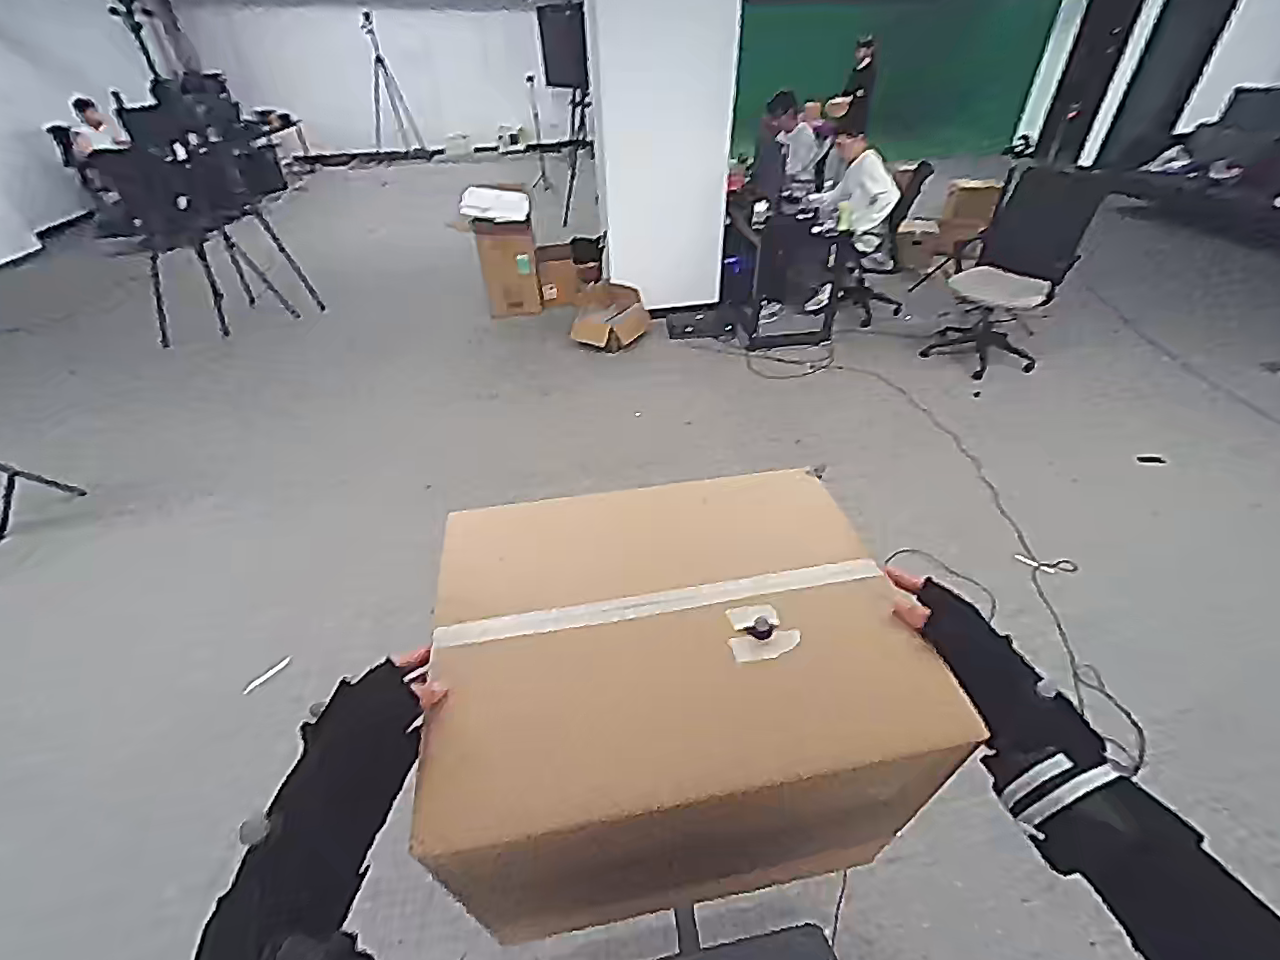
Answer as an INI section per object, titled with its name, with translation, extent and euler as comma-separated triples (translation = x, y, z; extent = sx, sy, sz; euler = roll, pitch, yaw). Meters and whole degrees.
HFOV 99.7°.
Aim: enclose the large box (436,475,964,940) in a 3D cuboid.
[large box]
translation = 0.027, 0.230, 0.590
extent = 0.408, 0.320, 0.320
euler = -7, 42, -8
